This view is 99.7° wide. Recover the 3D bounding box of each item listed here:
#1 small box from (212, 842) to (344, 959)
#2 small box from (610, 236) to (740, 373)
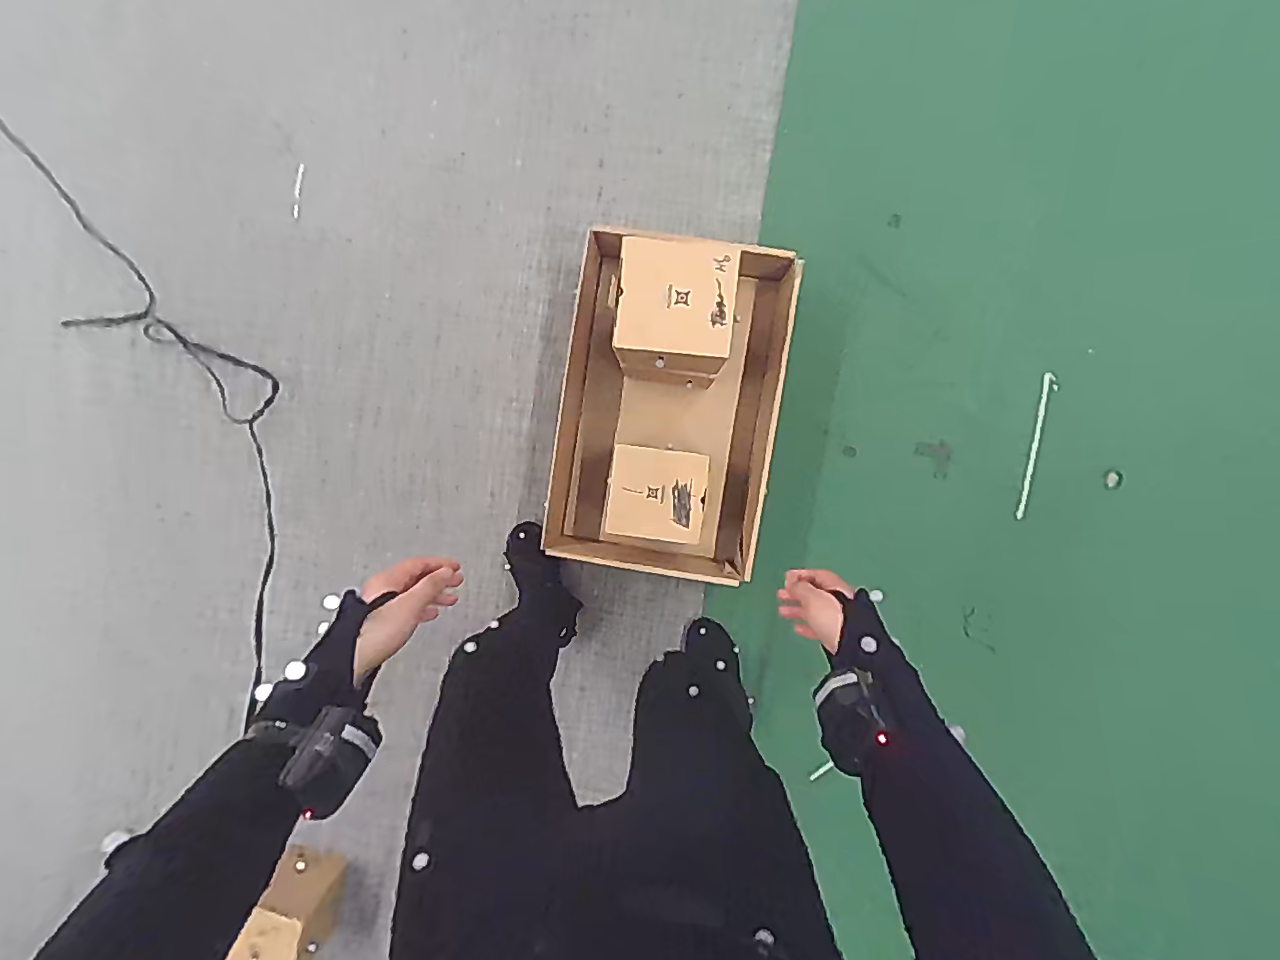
[{"bbox_3d":[-0.780,0.946,1.179,0.168,0.176,0.179,14,94,0],"label":"small box"},{"bbox_3d":[0.055,-0.269,0.865,0.179,0.176,0.168,6,94,3],"label":"small box"}]
